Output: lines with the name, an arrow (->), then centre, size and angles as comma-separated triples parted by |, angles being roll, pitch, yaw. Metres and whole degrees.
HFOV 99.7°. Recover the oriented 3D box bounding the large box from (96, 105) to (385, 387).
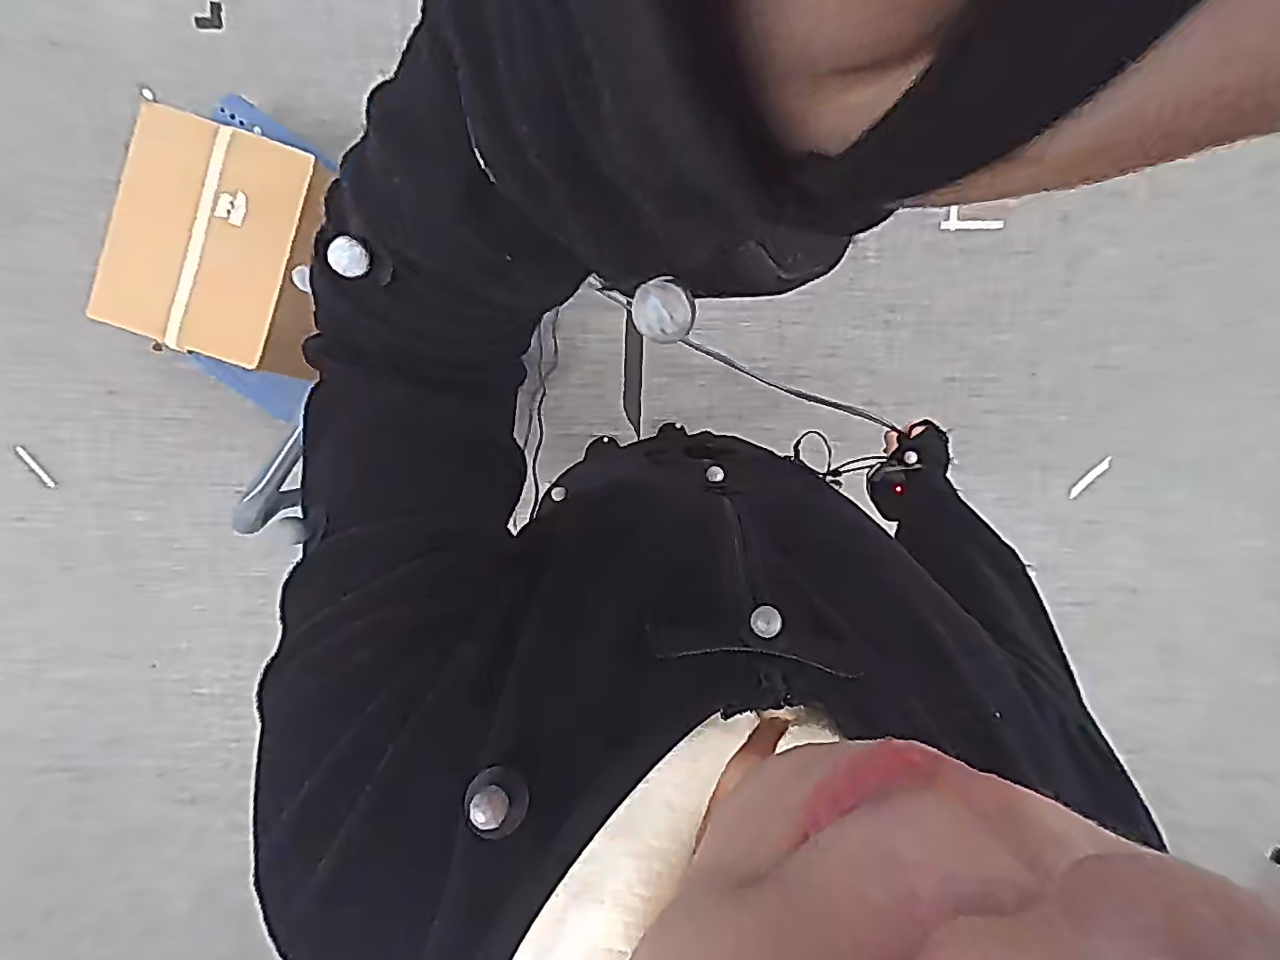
large box -> -0.790, -0.441, 1.122 | 0.320, 0.320, 0.408 | 18, 93, -4
